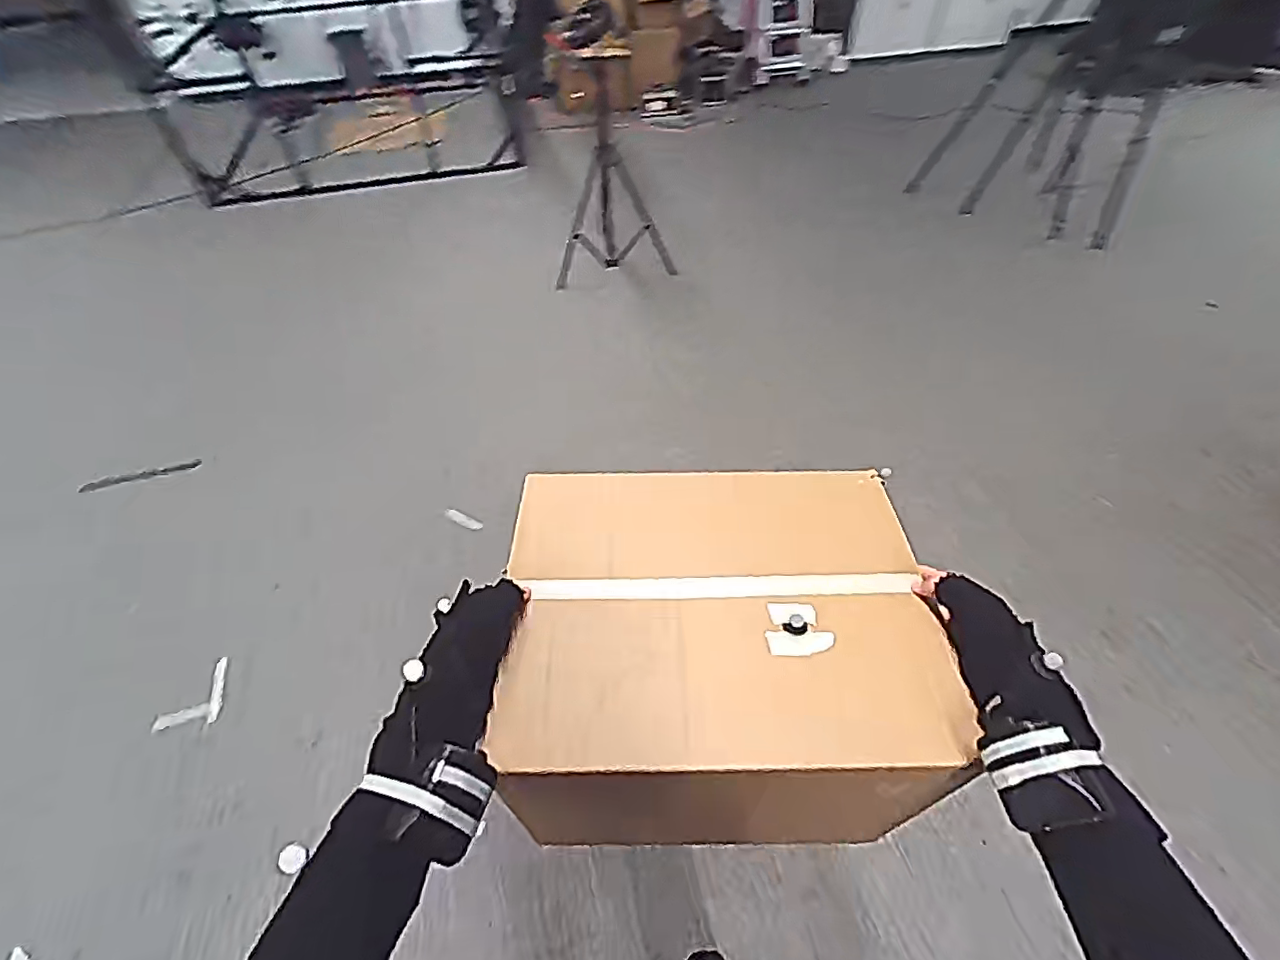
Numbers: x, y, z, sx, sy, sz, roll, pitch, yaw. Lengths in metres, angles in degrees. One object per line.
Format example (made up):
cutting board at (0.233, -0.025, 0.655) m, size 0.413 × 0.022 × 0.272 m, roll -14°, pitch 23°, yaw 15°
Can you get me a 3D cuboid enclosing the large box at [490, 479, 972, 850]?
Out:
large box at (0.069, 0.219, 0.643) m, size 0.408 × 0.320 × 0.320 m, roll -2°, pitch 47°, yaw -1°
